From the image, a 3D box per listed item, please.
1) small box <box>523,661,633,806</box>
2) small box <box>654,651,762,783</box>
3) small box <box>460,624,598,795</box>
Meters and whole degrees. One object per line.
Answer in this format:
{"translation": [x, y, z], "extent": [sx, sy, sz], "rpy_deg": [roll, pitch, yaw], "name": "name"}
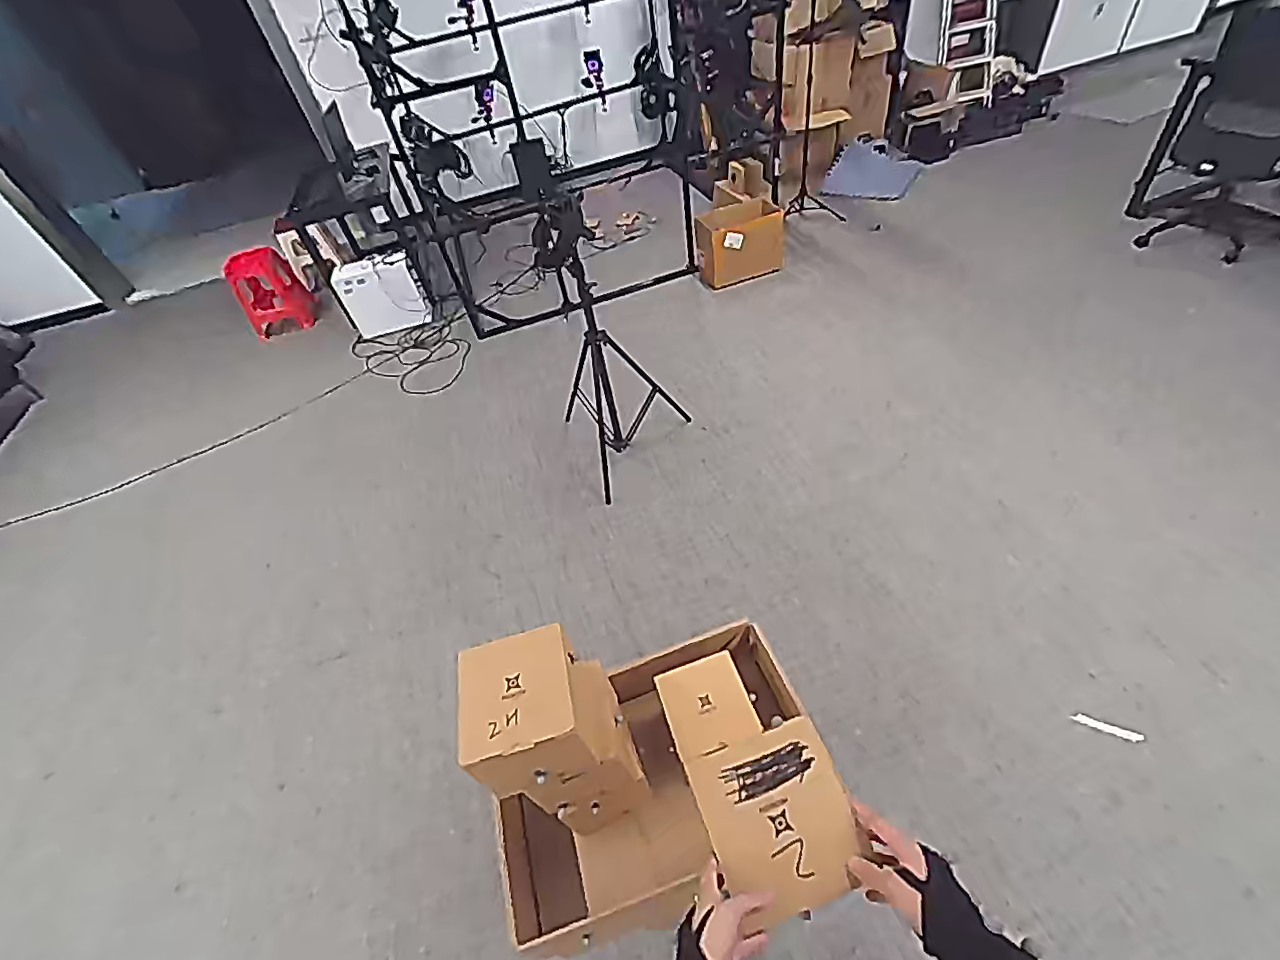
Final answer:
{"translation": [-0.119, 0.462, 0.973], "extent": [0.168, 0.176, 0.179], "rpy_deg": [-17, 46, -4], "name": "small box"}
{"translation": [0.140, 0.491, 1.119], "extent": [0.168, 0.176, 0.179], "rpy_deg": [-19, 47, -5], "name": "small box"}
{"translation": [-0.173, 0.362, 0.851], "extent": [0.168, 0.176, 0.179], "rpy_deg": [-16, 47, -3], "name": "small box"}
